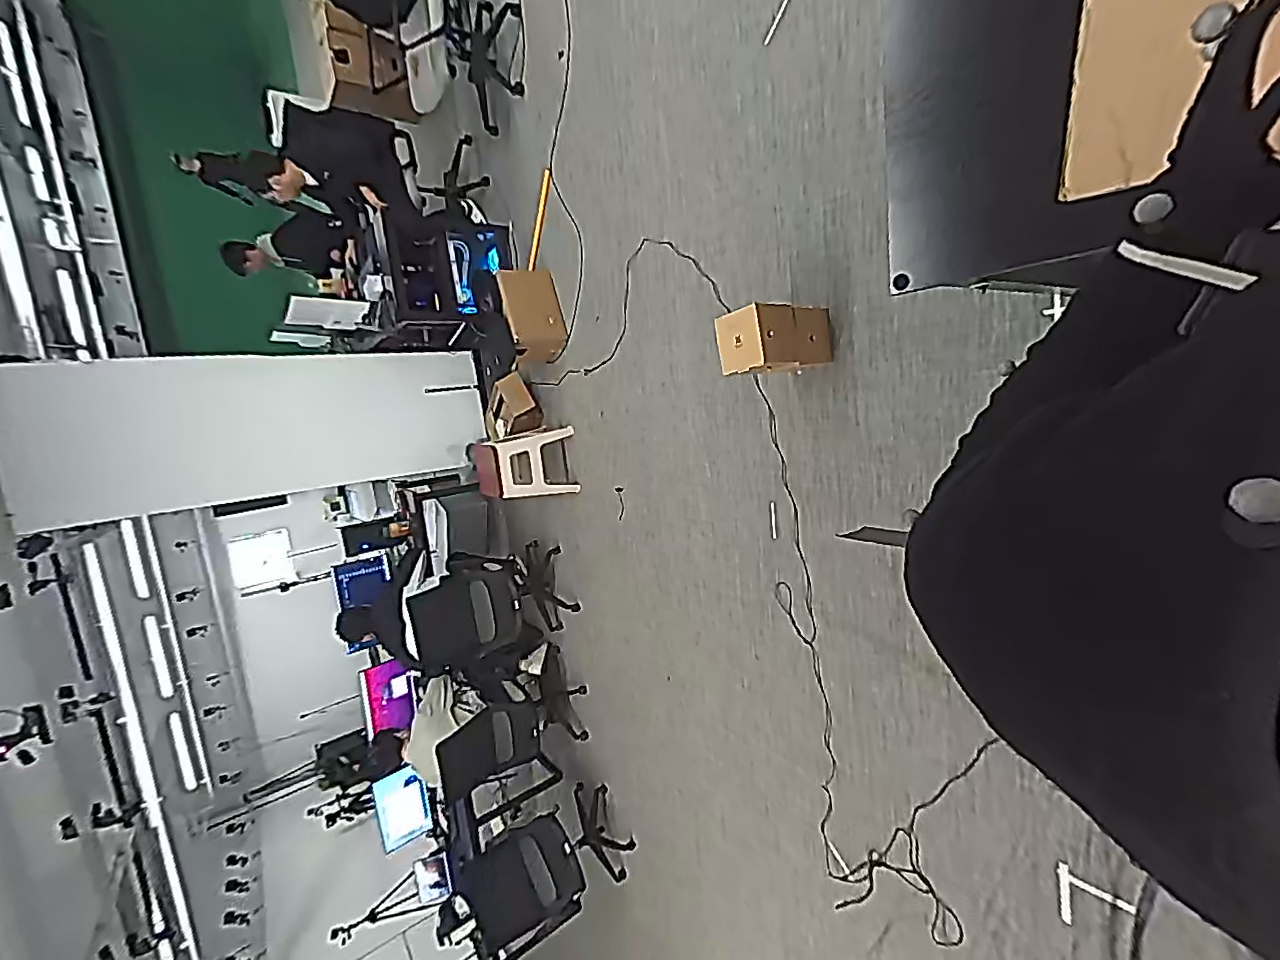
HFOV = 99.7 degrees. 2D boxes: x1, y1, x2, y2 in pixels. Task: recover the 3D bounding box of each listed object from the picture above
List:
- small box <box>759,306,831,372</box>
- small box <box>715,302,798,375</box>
[{"bbox_3d":[0.483,-0.443,1.711,0.168,0.176,0.179,-1,100,54],"label":"small box"},{"bbox_3d":[0.352,-0.421,1.617,0.168,0.176,0.179,-6,94,53],"label":"small box"}]
